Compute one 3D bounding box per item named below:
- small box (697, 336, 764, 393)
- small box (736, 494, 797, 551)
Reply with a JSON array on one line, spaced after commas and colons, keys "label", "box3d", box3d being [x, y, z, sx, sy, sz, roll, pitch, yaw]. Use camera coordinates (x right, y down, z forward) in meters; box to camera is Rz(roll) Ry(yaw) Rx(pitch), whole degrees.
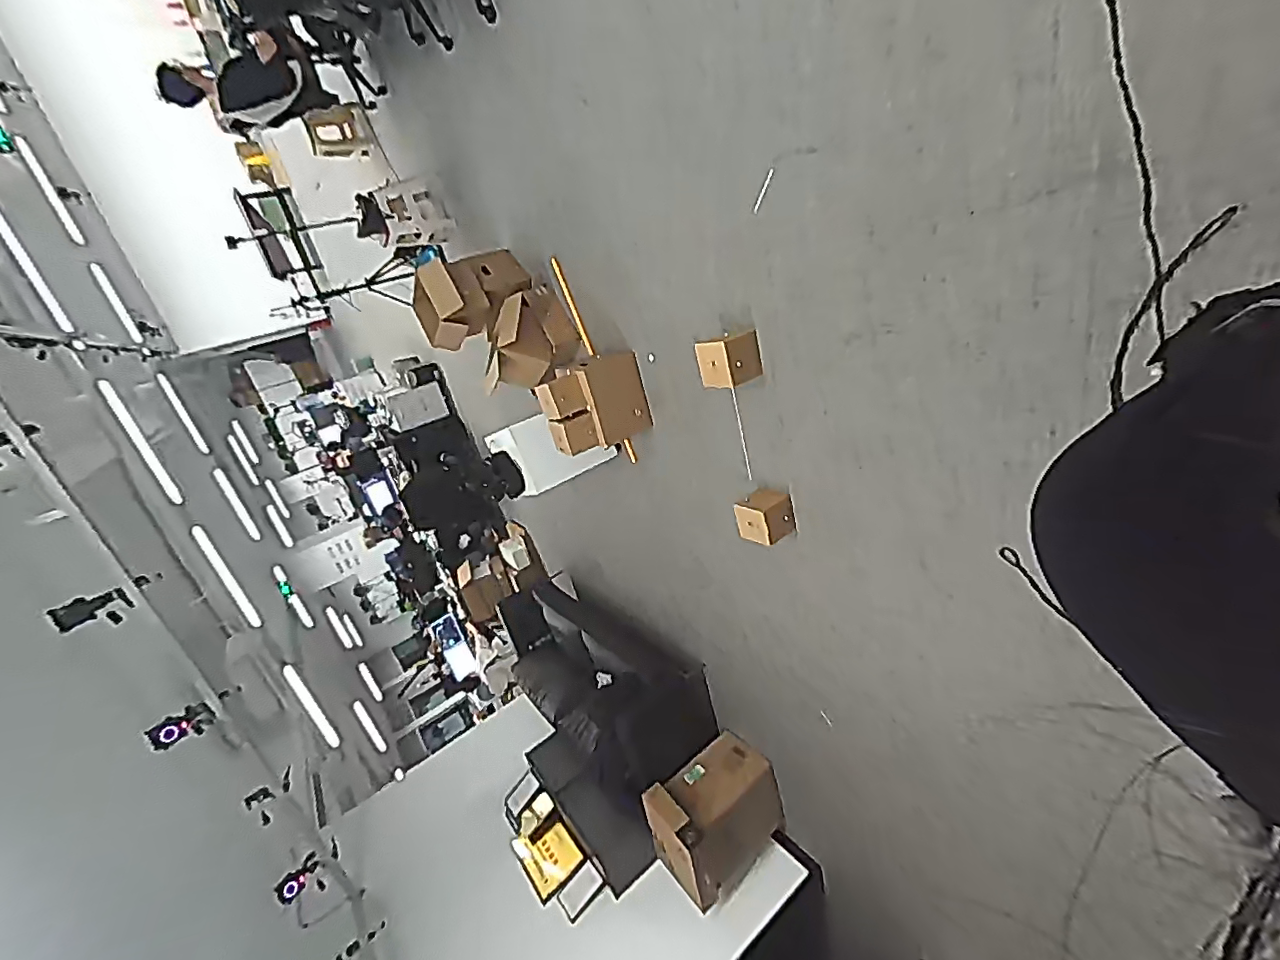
[{"label": "small box", "box3d": [0.348, -0.443, 2.066, 0.168, 0.176, 0.179, 15, 128, 54]}, {"label": "small box", "box3d": [0.539, 0.173, 2.297, 0.179, 0.176, 0.168, 15, 128, 54]}]
